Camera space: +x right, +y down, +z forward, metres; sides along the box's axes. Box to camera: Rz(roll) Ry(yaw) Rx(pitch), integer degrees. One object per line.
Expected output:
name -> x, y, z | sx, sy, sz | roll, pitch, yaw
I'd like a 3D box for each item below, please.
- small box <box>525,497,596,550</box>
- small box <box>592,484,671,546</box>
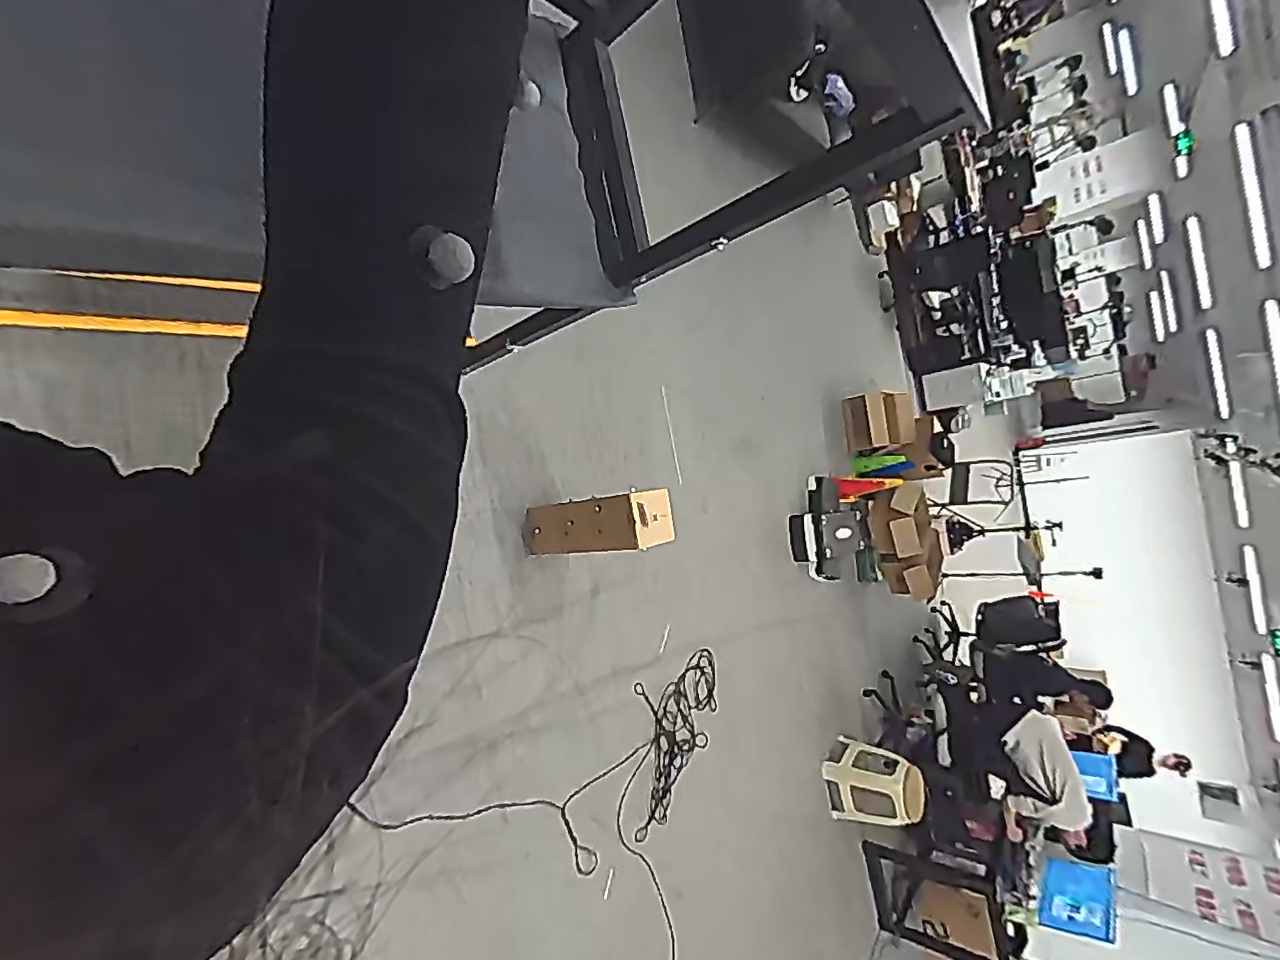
small box -> -0.275, 0.149, 1.883 | 0.179, 0.176, 0.168 | -4, 85, -48
small box -> -0.032, 0.108, 1.668 | 0.179, 0.176, 0.168 | -7, 89, -49
